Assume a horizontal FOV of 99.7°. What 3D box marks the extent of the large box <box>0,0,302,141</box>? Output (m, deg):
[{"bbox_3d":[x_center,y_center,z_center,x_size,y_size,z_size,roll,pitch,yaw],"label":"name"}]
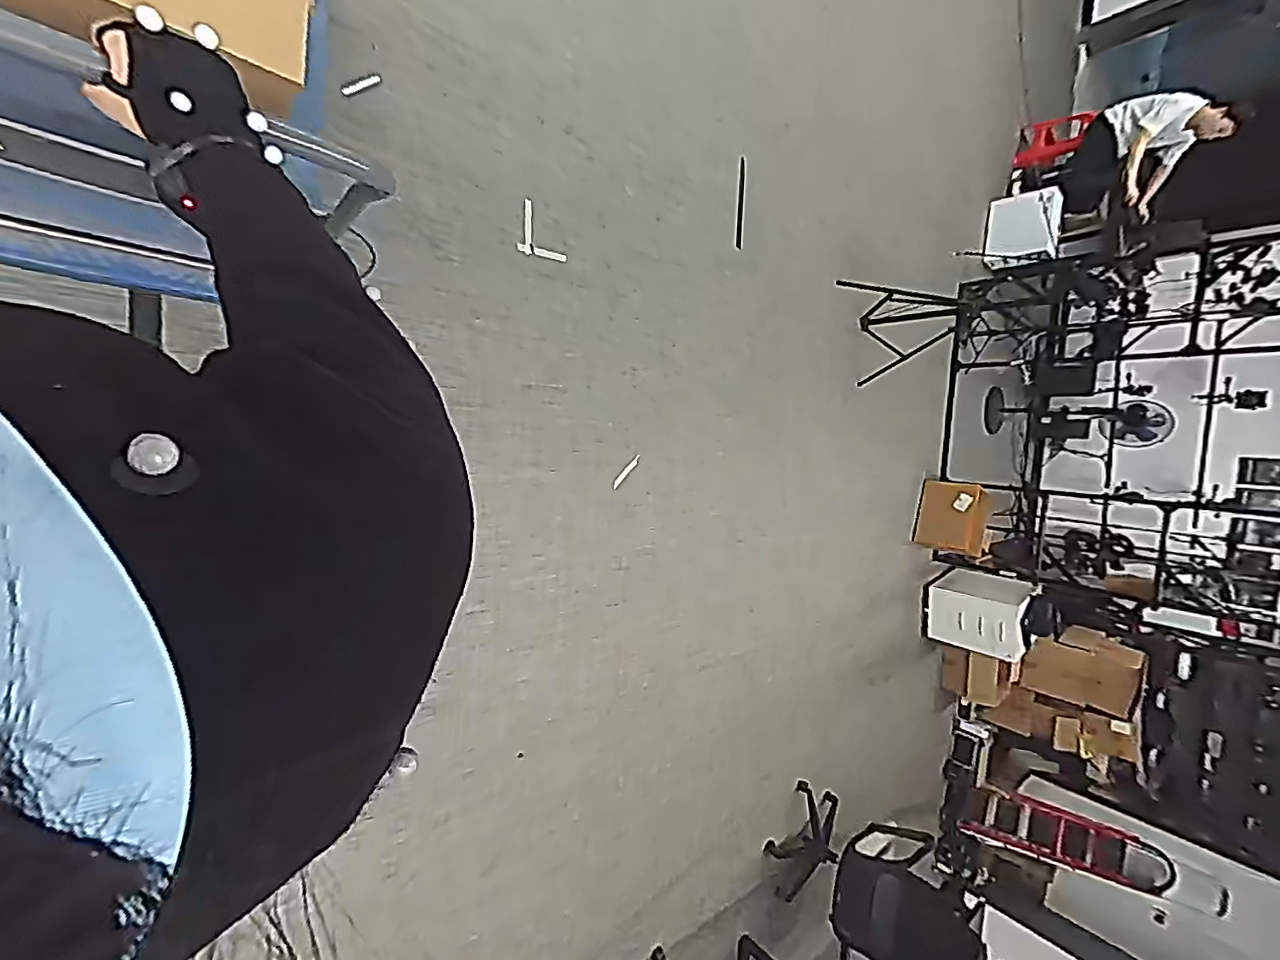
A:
[{"bbox_3d":[-0.779,-0.812,0.838,0.408,0.320,0.320,2,94,-41],"label":"large box"}]
